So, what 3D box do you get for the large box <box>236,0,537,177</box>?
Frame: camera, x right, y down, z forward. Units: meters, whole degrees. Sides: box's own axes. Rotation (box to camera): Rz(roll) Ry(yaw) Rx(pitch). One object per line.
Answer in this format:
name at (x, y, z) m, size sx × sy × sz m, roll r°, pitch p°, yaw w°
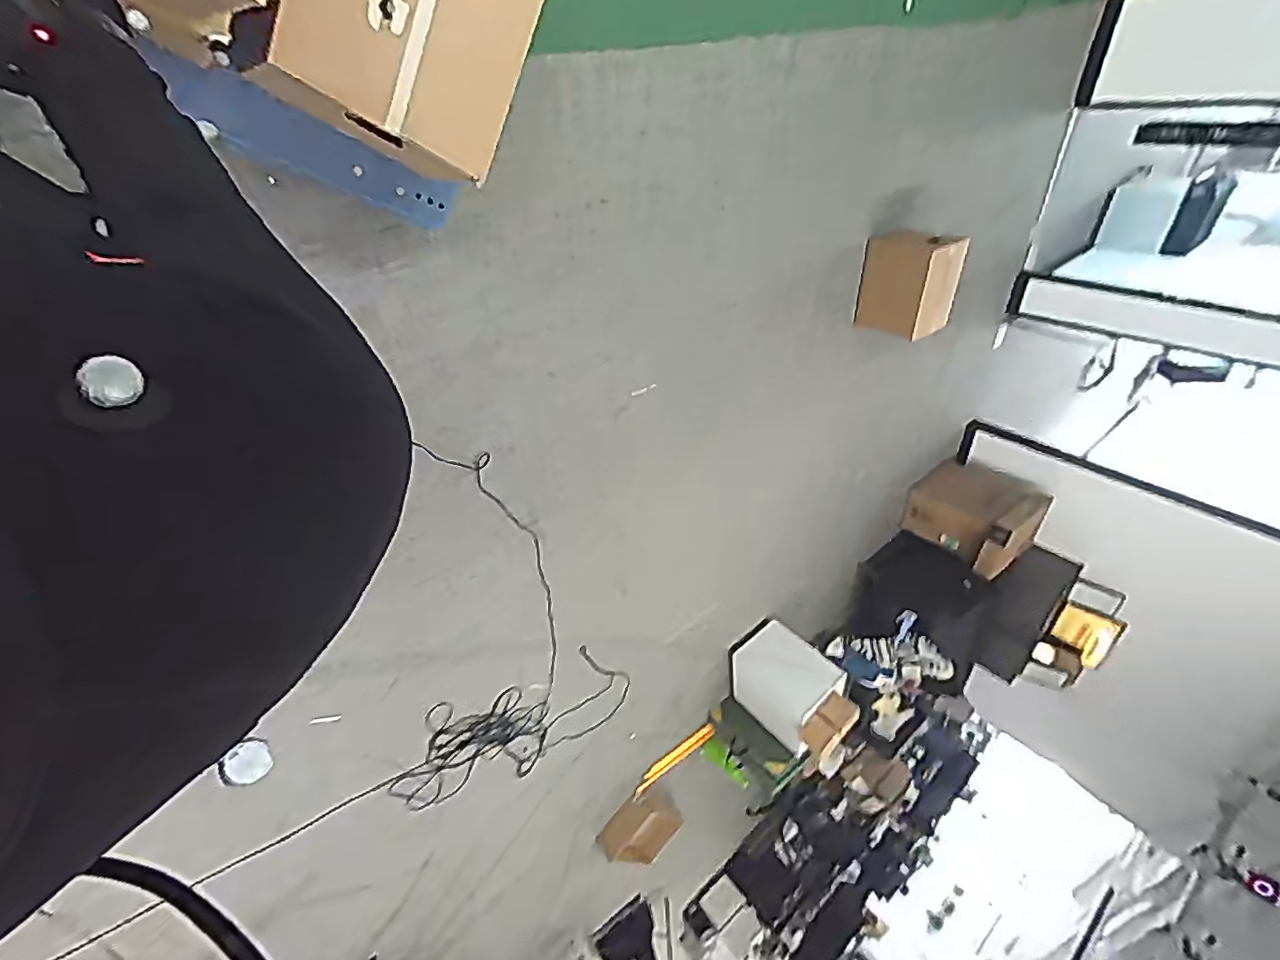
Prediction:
large box at (-0.385, -0.765, 0.841) m, size 0.320 × 0.320 × 0.408 m, roll 10°, pitch 110°, yaw -46°
